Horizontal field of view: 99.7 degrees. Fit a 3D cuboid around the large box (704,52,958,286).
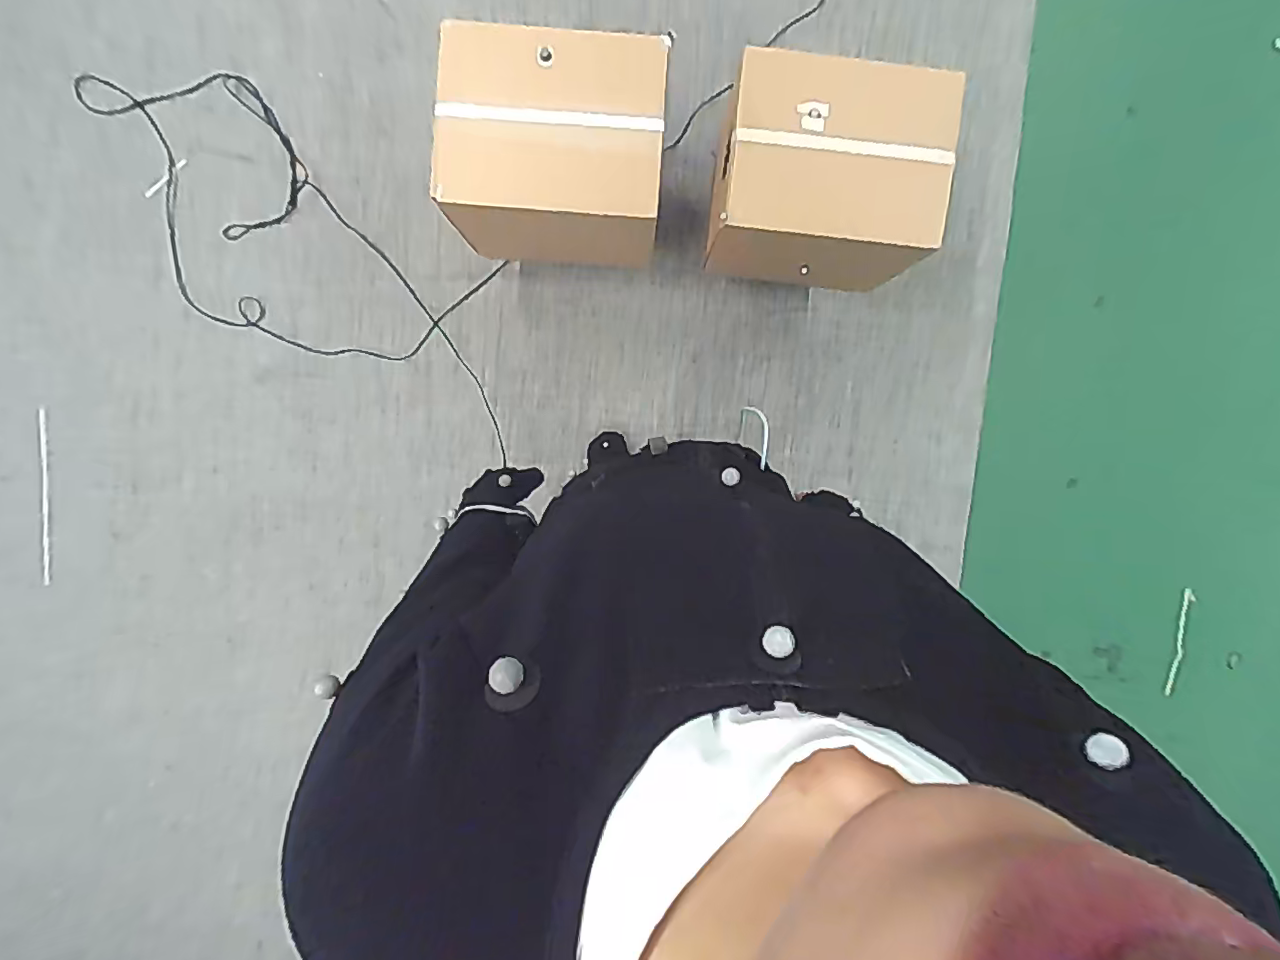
[{"bbox_3d":[0.368,-0.618,1.139,0.408,0.320,0.320,6,94,-1],"label":"large box"}]
